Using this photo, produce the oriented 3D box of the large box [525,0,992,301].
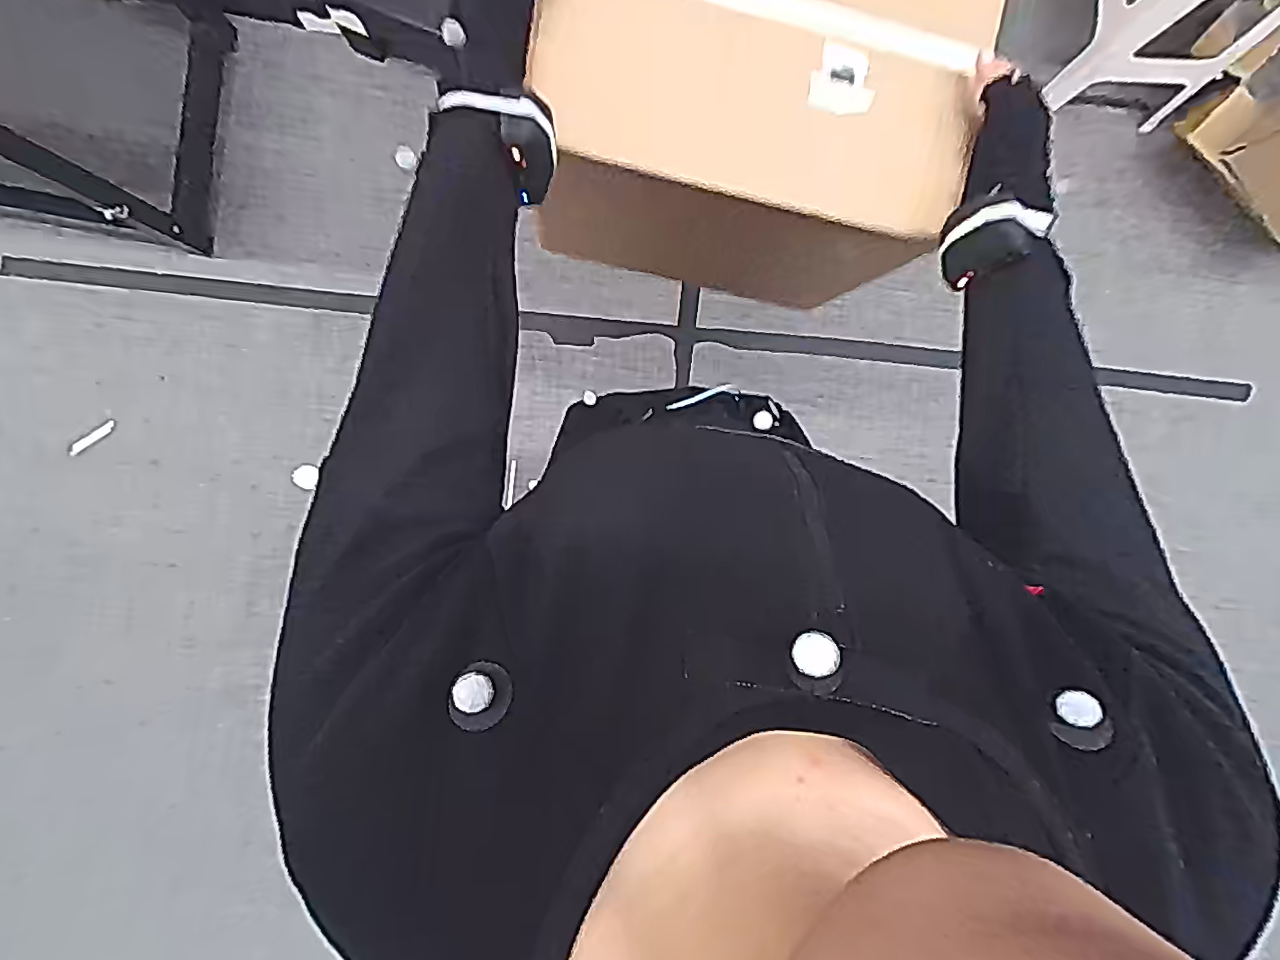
[{"bbox_3d":[0.098,-0.429,0.622,0.408,0.320,0.320,10,95,-8],"label":"large box"}]
